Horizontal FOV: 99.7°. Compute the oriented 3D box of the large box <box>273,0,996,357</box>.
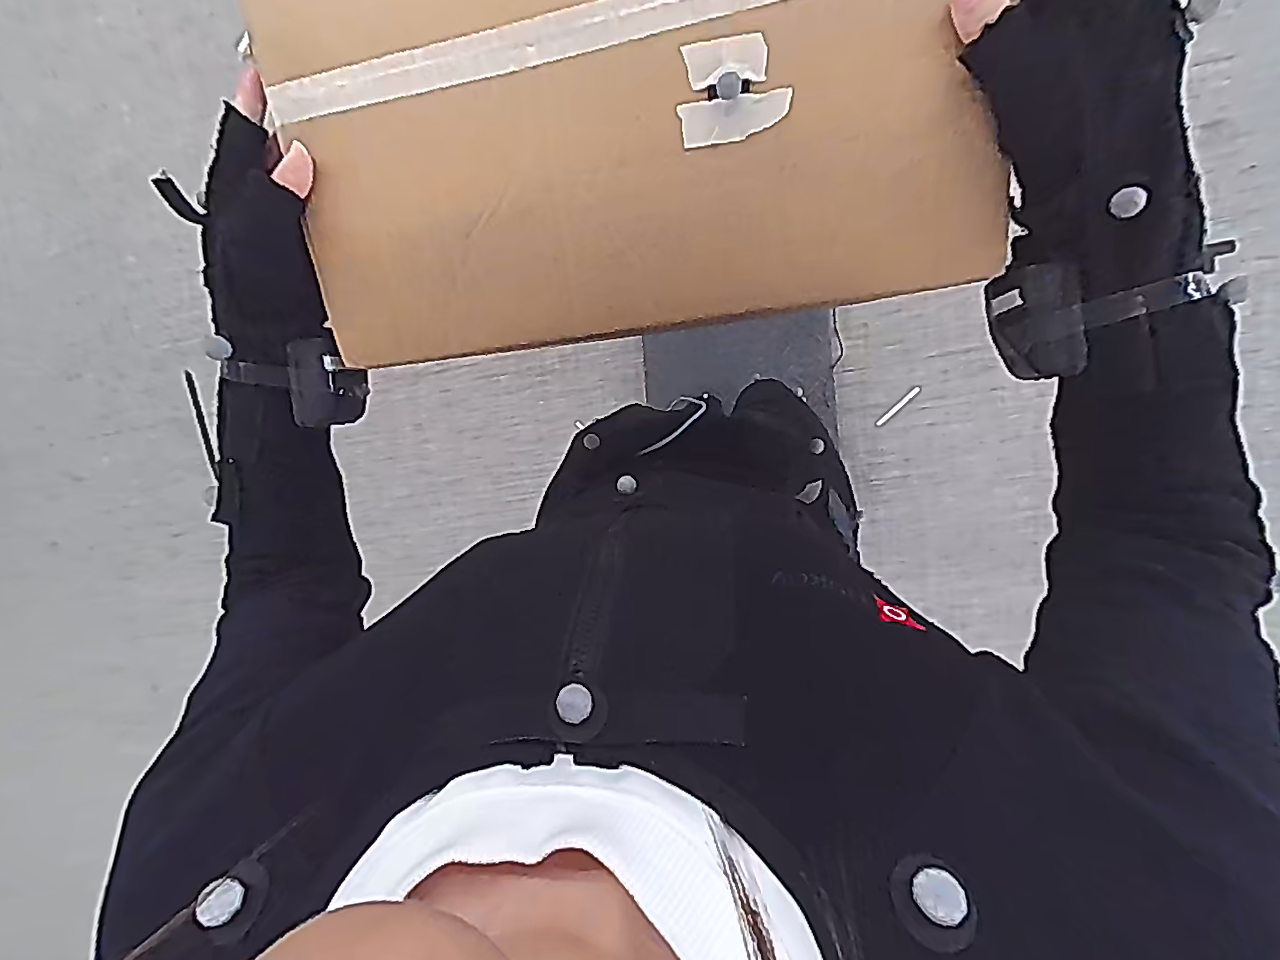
[{"bbox_3d":[0.002,-0.292,0.442,0.408,0.320,0.320,-6,106,10],"label":"large box"}]
